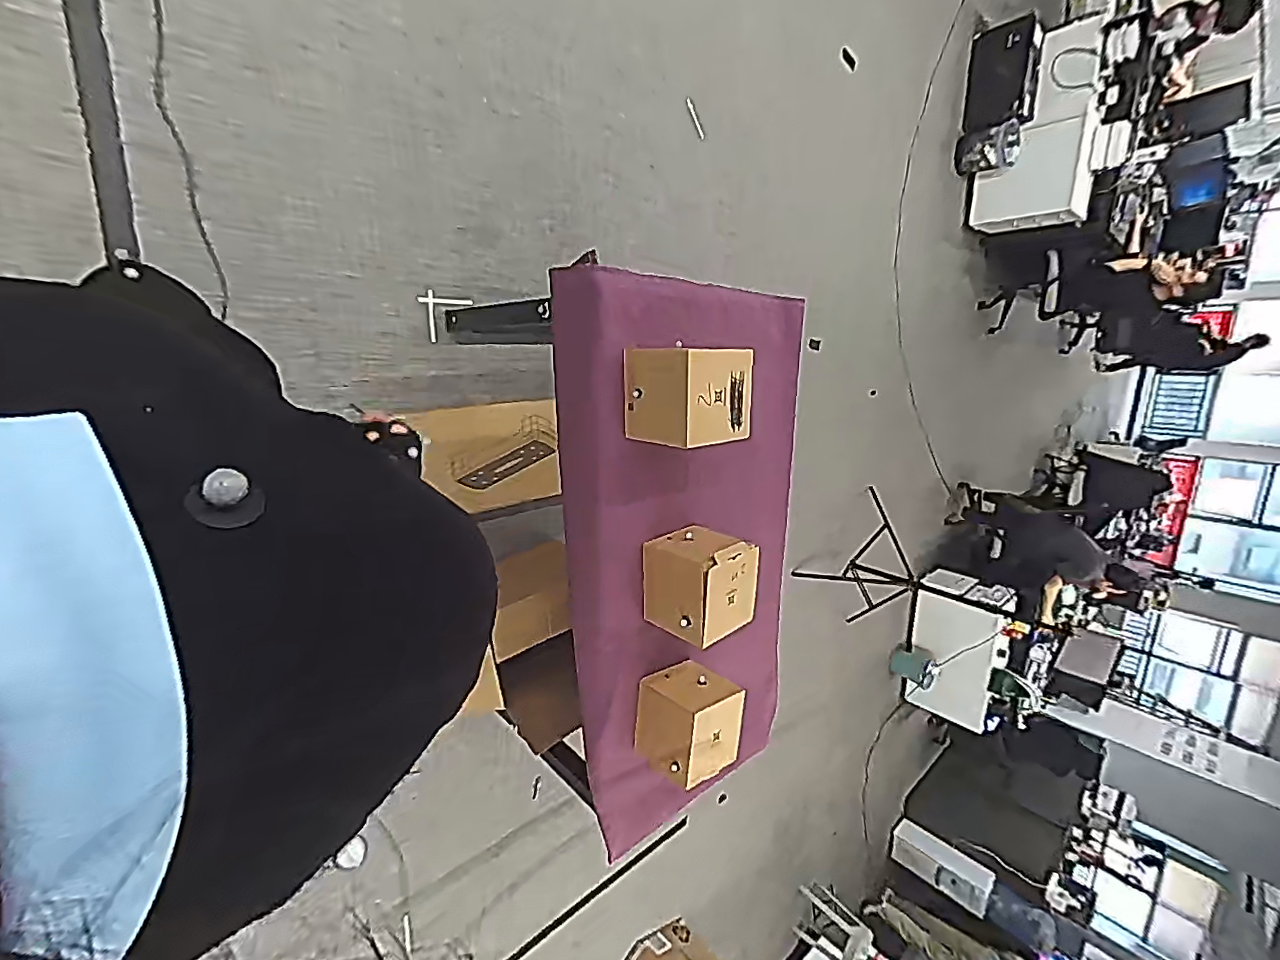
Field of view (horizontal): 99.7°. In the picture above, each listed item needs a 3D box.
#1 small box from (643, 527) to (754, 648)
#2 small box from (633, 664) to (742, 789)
[{"bbox_3d":[0.118,0.216,1.131,0.168,0.176,0.179,-14,110,-43],"label":"small box"},{"bbox_3d":[0.101,0.527,1.195,0.168,0.176,0.179,-4,103,-42],"label":"small box"}]
